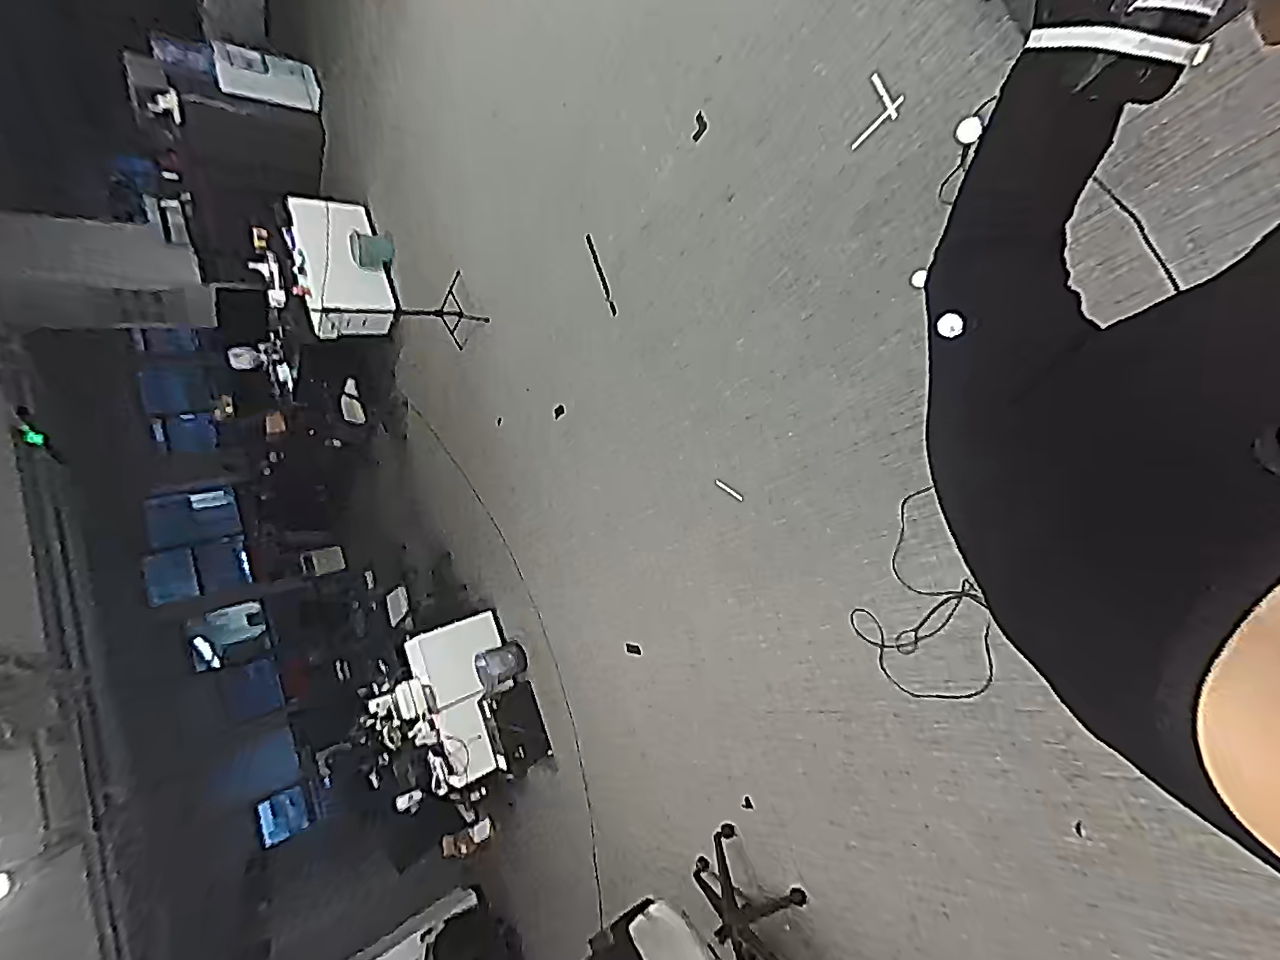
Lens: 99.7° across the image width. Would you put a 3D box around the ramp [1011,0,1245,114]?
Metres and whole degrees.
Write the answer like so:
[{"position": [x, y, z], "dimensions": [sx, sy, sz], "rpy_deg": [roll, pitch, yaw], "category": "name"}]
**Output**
[{"position": [0.811, -1.262, 0.950], "dimensions": [0.509, 0.206, 0.991], "rpy_deg": [-34, 74, 49], "category": "ramp"}]
